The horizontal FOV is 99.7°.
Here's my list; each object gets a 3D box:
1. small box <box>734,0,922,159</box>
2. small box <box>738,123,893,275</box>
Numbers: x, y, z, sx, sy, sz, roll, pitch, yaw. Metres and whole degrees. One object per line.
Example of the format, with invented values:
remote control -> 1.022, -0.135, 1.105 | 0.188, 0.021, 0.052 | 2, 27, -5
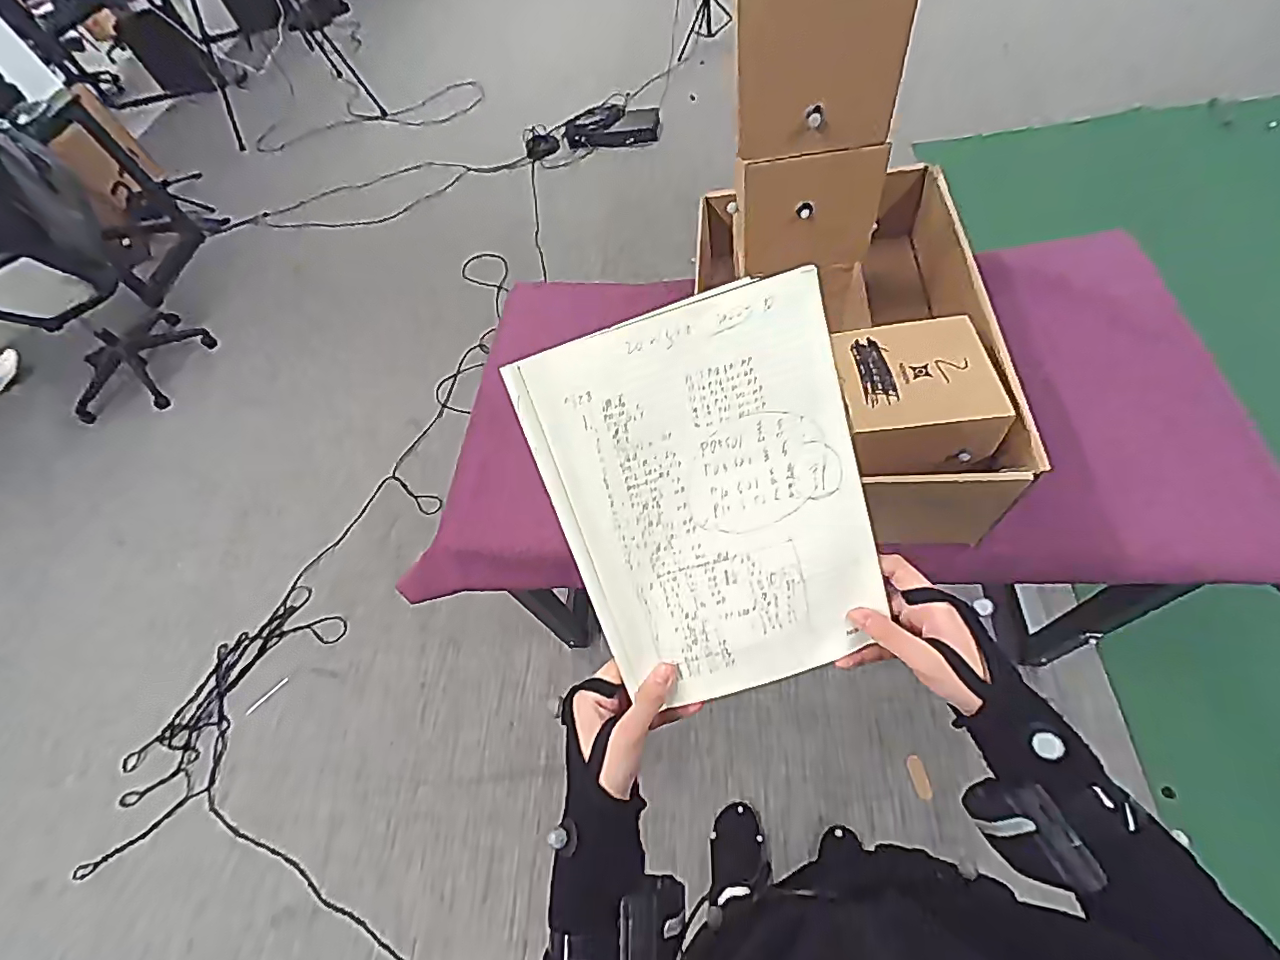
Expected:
small box -> 0.199, -0.501, 0.620 | 0.179, 0.176, 0.168 | -1, 59, 9
small box -> 0.229, -0.415, 0.757 | 0.179, 0.176, 0.168 | -4, 59, 9
